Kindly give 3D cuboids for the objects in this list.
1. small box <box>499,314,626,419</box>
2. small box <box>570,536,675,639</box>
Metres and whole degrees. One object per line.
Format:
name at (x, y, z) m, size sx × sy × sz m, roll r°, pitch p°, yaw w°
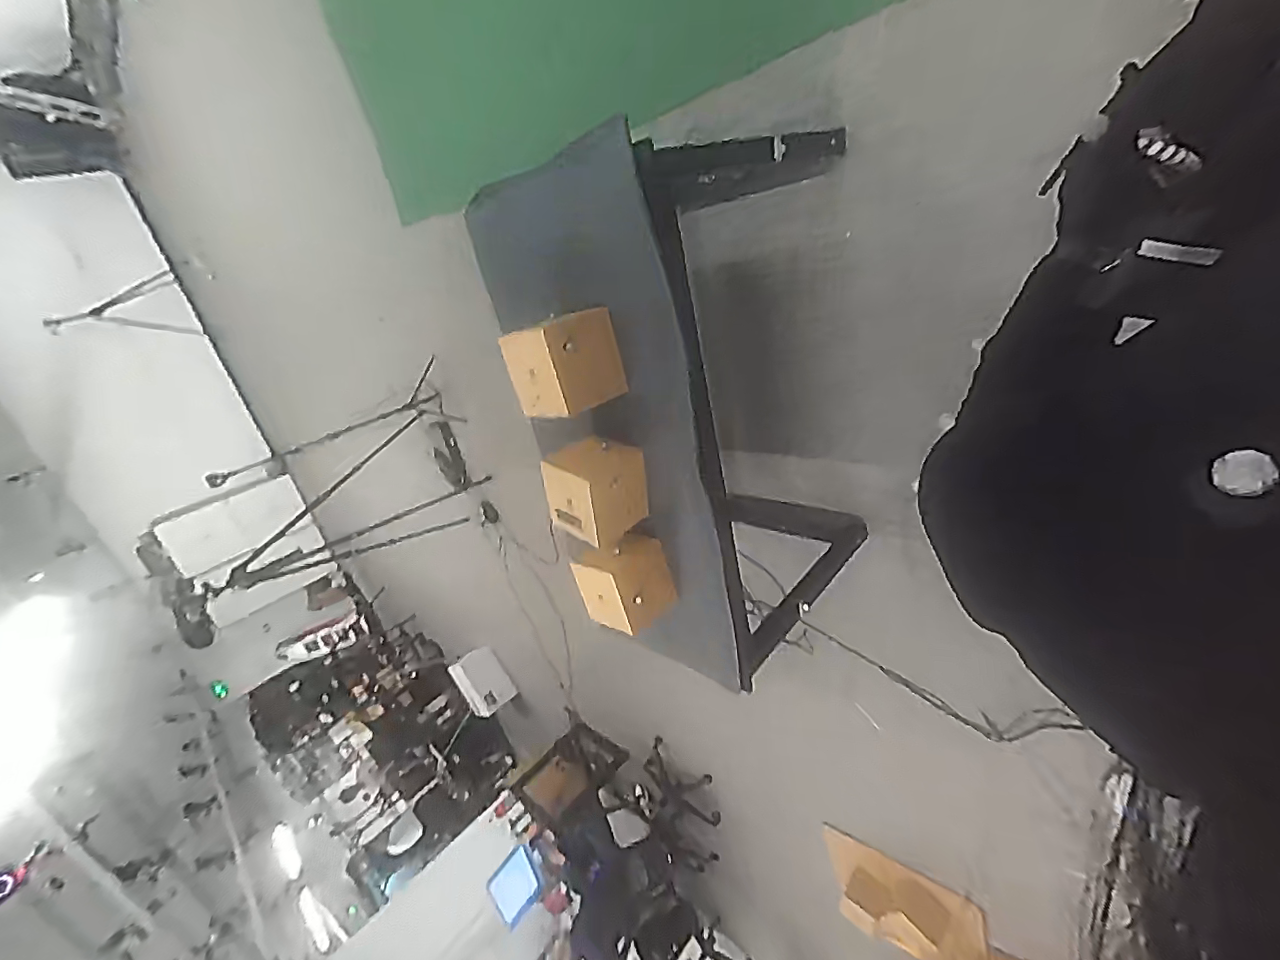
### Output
small box at (-0.155, -0.237, 1.115) m, size 0.168 × 0.176 × 0.179 m, roll 8°, pitch 121°, yaw 46°
small box at (-0.039, 0.255, 1.339) m, size 0.168 × 0.176 × 0.179 m, roll 4°, pitch 118°, yaw 47°
